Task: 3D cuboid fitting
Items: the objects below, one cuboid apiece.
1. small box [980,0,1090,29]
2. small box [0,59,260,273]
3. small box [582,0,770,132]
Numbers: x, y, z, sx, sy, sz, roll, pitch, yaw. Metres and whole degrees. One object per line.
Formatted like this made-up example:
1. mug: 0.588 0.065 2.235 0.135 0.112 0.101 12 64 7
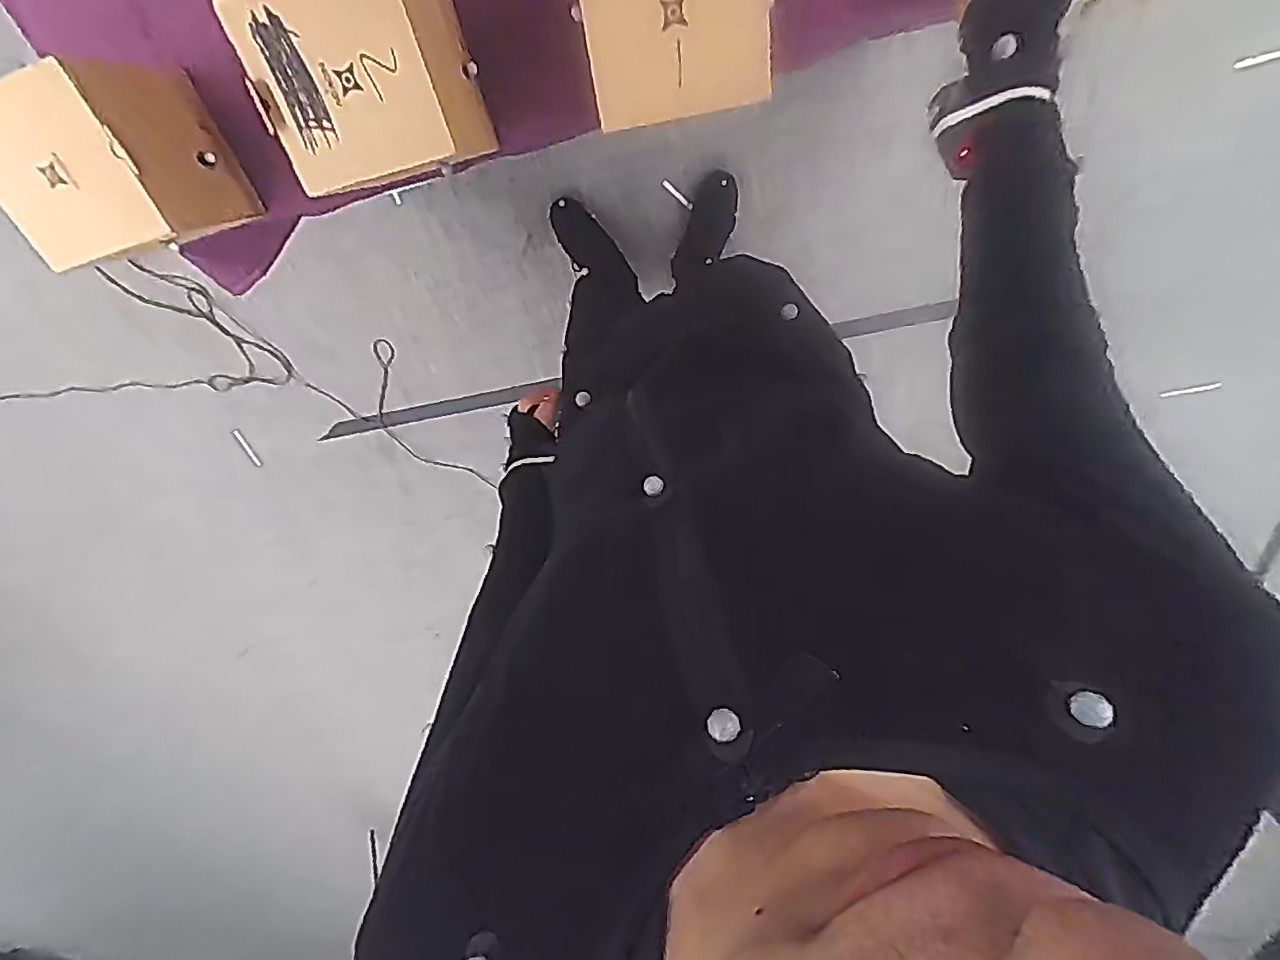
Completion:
1. small box: 0.421 -0.533 0.467 0.168 0.176 0.179 -10 122 11
2. small box: -0.615 -0.366 0.644 0.179 0.176 0.168 -12 121 10
3. small box: 0.034 -0.463 0.539 0.168 0.176 0.179 -6 124 8
